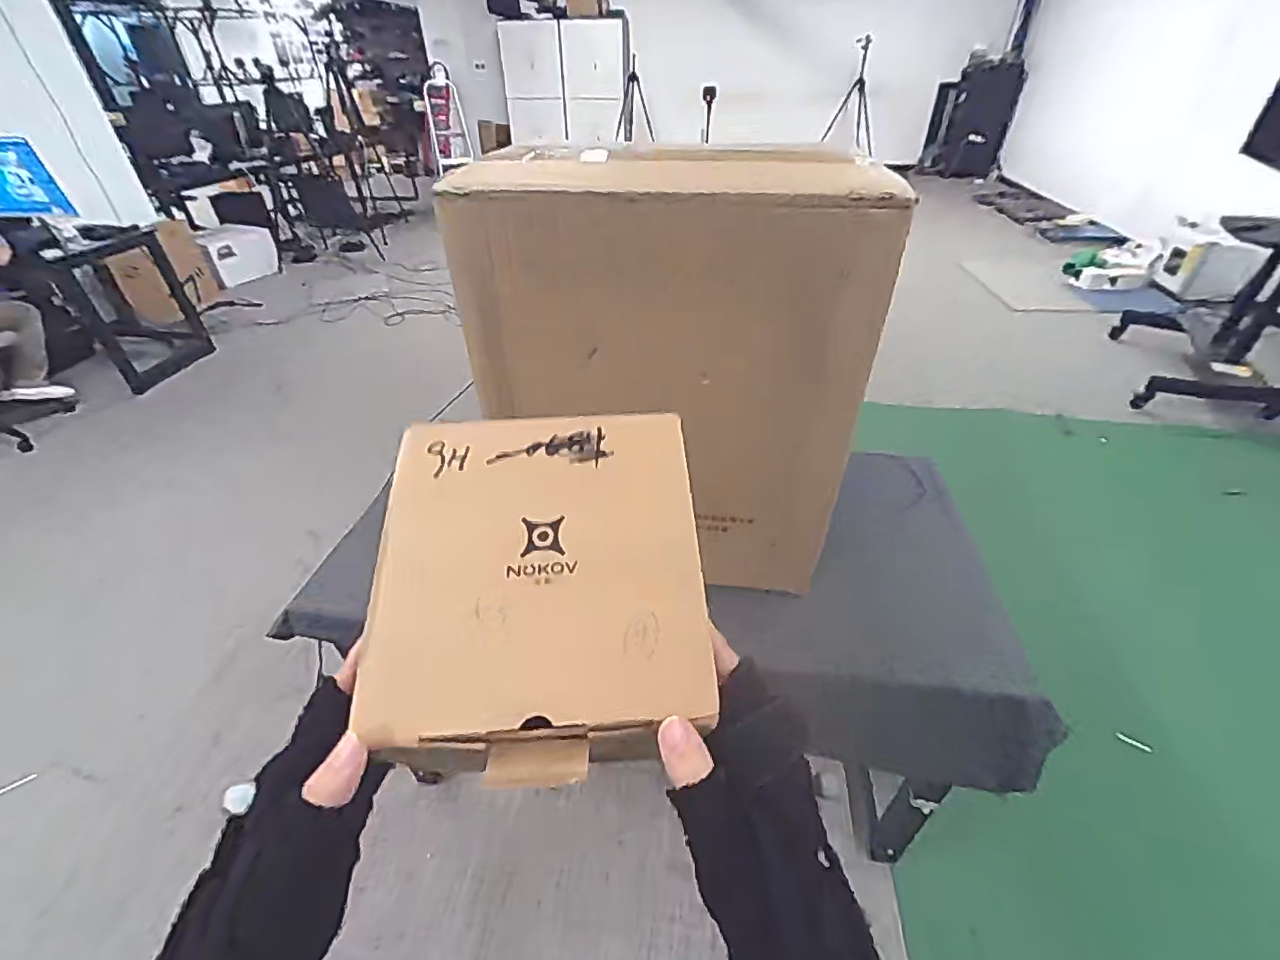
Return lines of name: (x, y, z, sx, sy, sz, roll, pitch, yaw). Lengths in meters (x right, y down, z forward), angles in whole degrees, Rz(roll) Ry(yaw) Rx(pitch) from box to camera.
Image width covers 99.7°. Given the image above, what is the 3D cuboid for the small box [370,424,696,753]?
small box: (-0.059, 0.085, 0.375, 0.168, 0.176, 0.179, -5, 59, -4)
